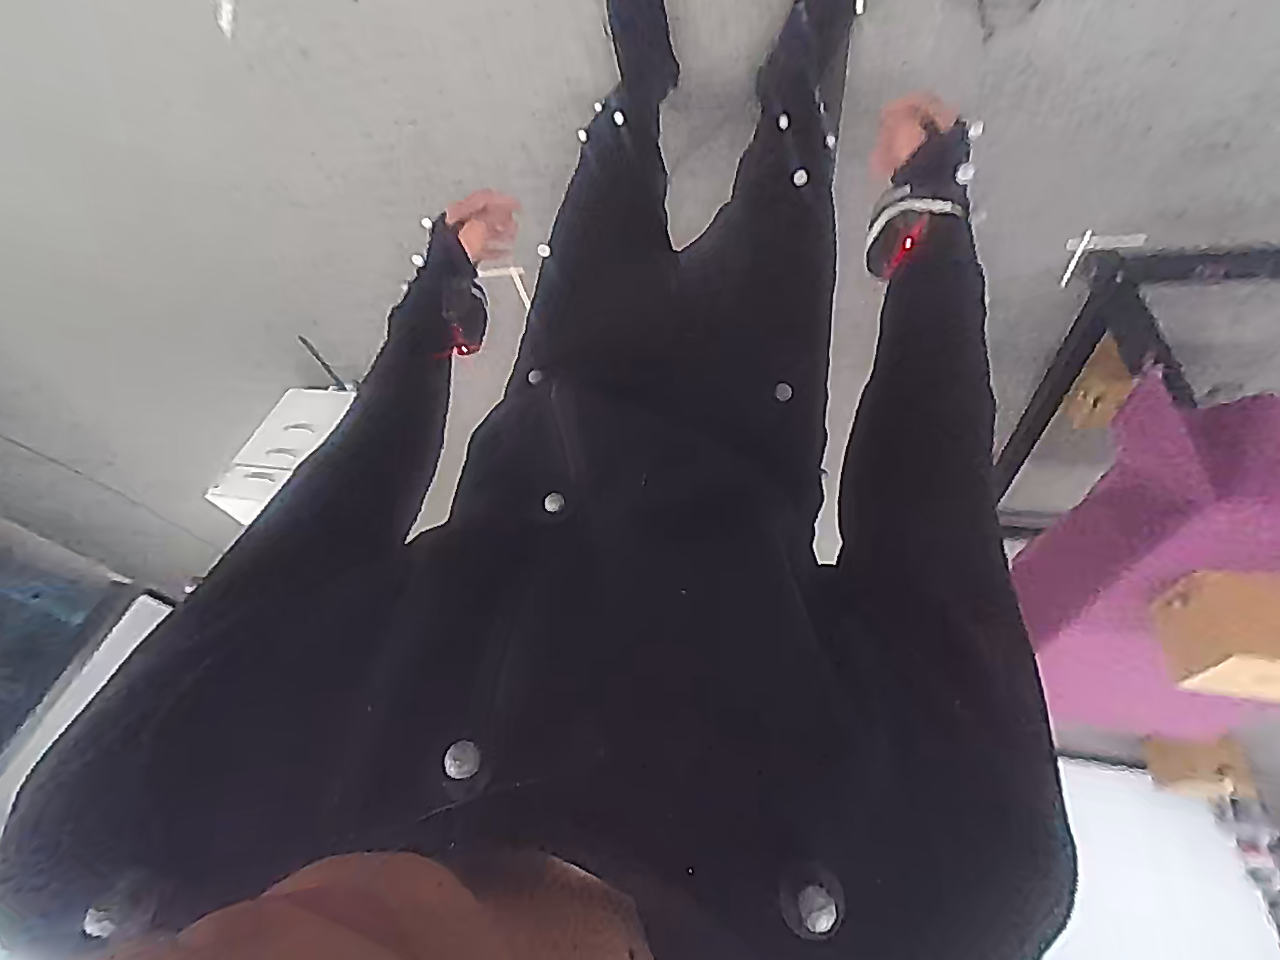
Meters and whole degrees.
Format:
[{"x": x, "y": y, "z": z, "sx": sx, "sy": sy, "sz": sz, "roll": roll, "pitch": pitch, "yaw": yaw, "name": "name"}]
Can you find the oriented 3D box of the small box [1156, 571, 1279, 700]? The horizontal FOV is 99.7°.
[{"x": 1.087, "y": 0.274, "z": 0.958, "sx": 0.179, "sy": 0.176, "sz": 0.168, "roll": 4, "pitch": 145, "yaw": 15, "name": "small box"}]
